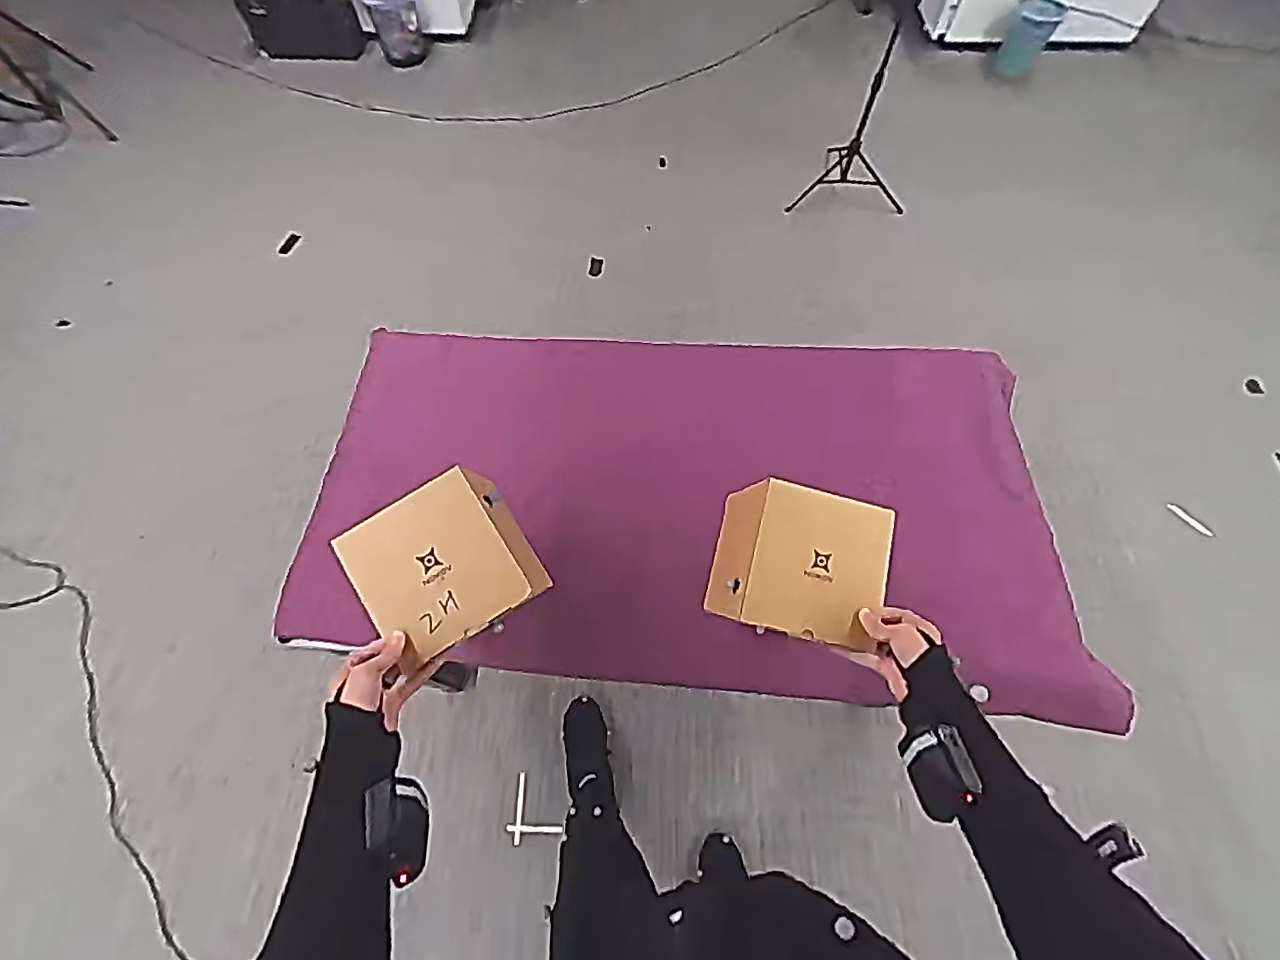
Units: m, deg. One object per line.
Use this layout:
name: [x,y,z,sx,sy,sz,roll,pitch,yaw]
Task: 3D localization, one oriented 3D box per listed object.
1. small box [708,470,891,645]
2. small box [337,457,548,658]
small box: [0.200,0.102,0.718,0.168,0.176,0.179,15,80,-4]
small box: [-0.236,0.097,0.692,0.168,0.176,0.179,-31,85,-5]
